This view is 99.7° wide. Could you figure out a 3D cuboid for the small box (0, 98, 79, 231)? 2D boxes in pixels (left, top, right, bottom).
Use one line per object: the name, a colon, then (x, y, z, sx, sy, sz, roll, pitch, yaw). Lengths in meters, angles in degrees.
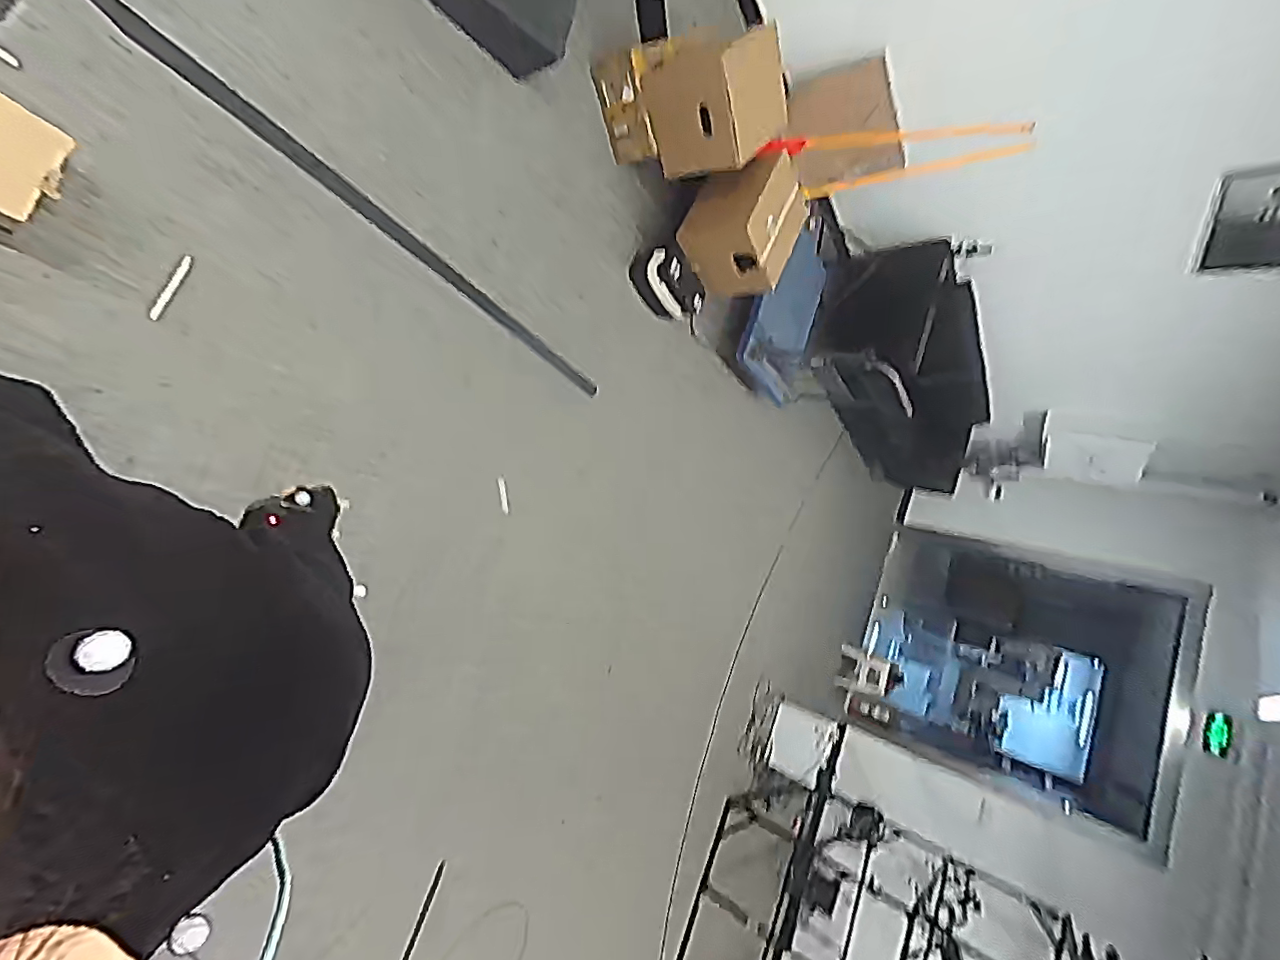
small box: (-1.061, -0.520, 0.859, 0.179, 0.176, 0.168, 35, 72, -50)
